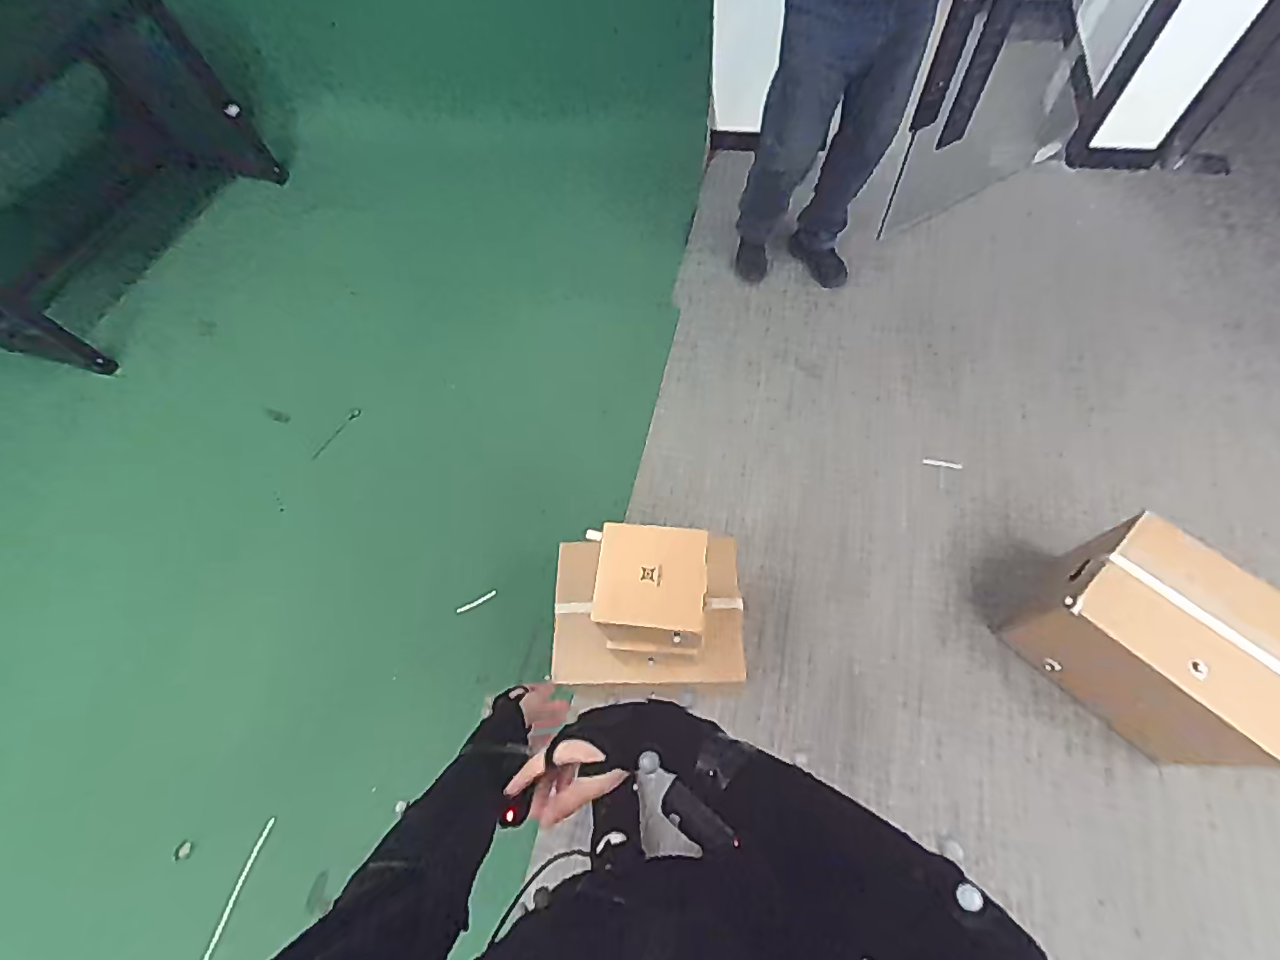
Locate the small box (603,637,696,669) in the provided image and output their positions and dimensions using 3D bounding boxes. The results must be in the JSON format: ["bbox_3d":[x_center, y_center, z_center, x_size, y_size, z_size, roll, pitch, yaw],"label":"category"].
[{"bbox_3d":[0.030,0.266,1.059,0.168,0.176,0.179,3,63,6],"label":"small box"}]

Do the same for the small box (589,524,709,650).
[{"bbox_3d":[0.022,0.186,0.918,0.179,0.176,0.168,4,64,6],"label":"small box"}]

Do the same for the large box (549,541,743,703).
[{"bbox_3d":[0.023,0.353,1.293,0.408,0.320,0.320,-3,61,5],"label":"large box"}]
